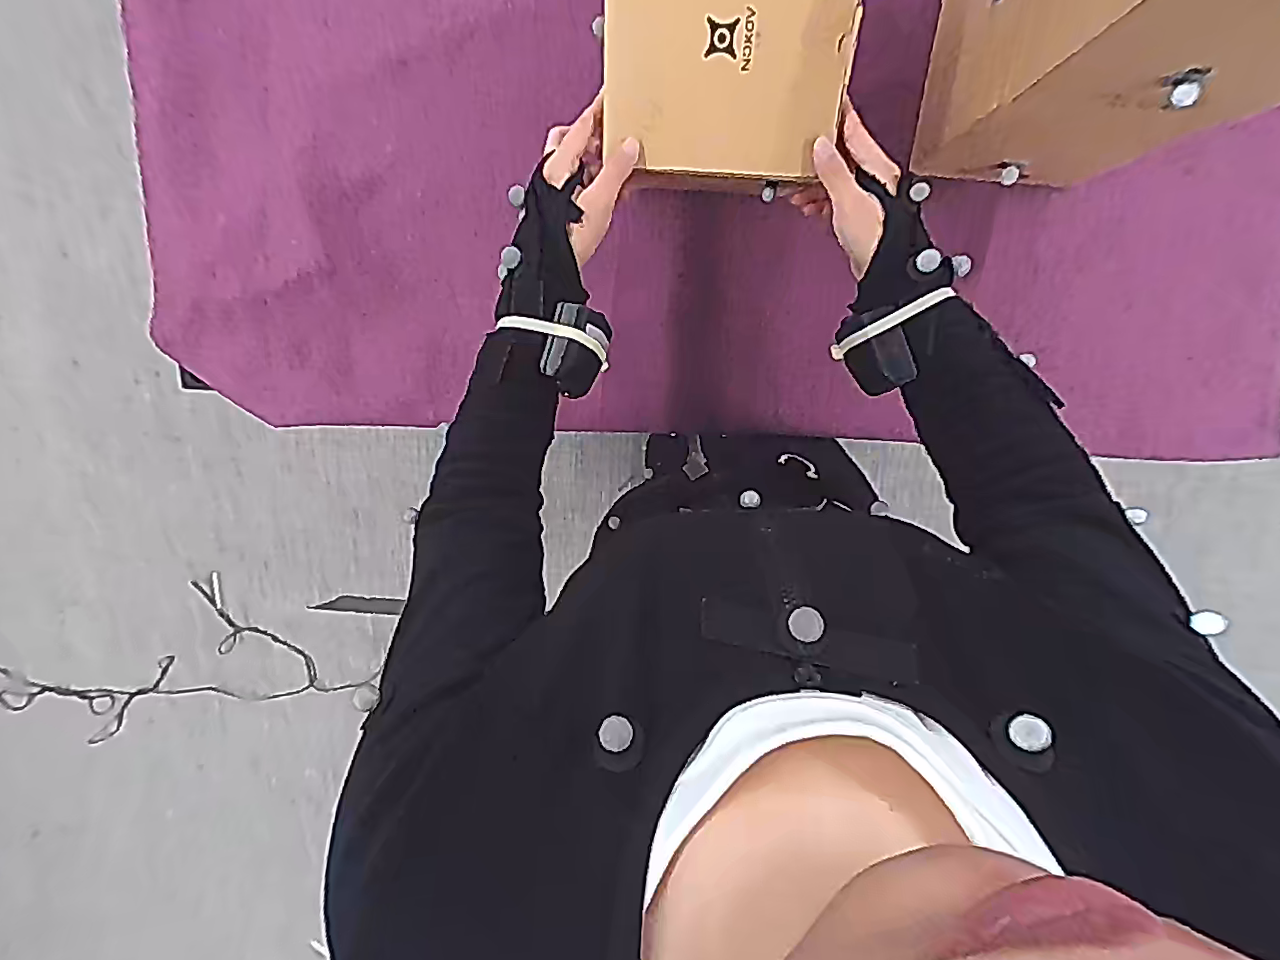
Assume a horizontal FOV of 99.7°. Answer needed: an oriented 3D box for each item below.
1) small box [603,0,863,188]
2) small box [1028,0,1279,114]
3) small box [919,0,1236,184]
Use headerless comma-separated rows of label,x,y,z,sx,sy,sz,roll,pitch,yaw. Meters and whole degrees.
small box,0.065,-0.343,0.445,0.179,0.176,0.168,3,114,-1
small box,0.355,-0.335,0.289,0.168,0.176,0.179,6,104,3
small box,0.362,-0.373,0.449,0.168,0.176,0.179,7,104,2
